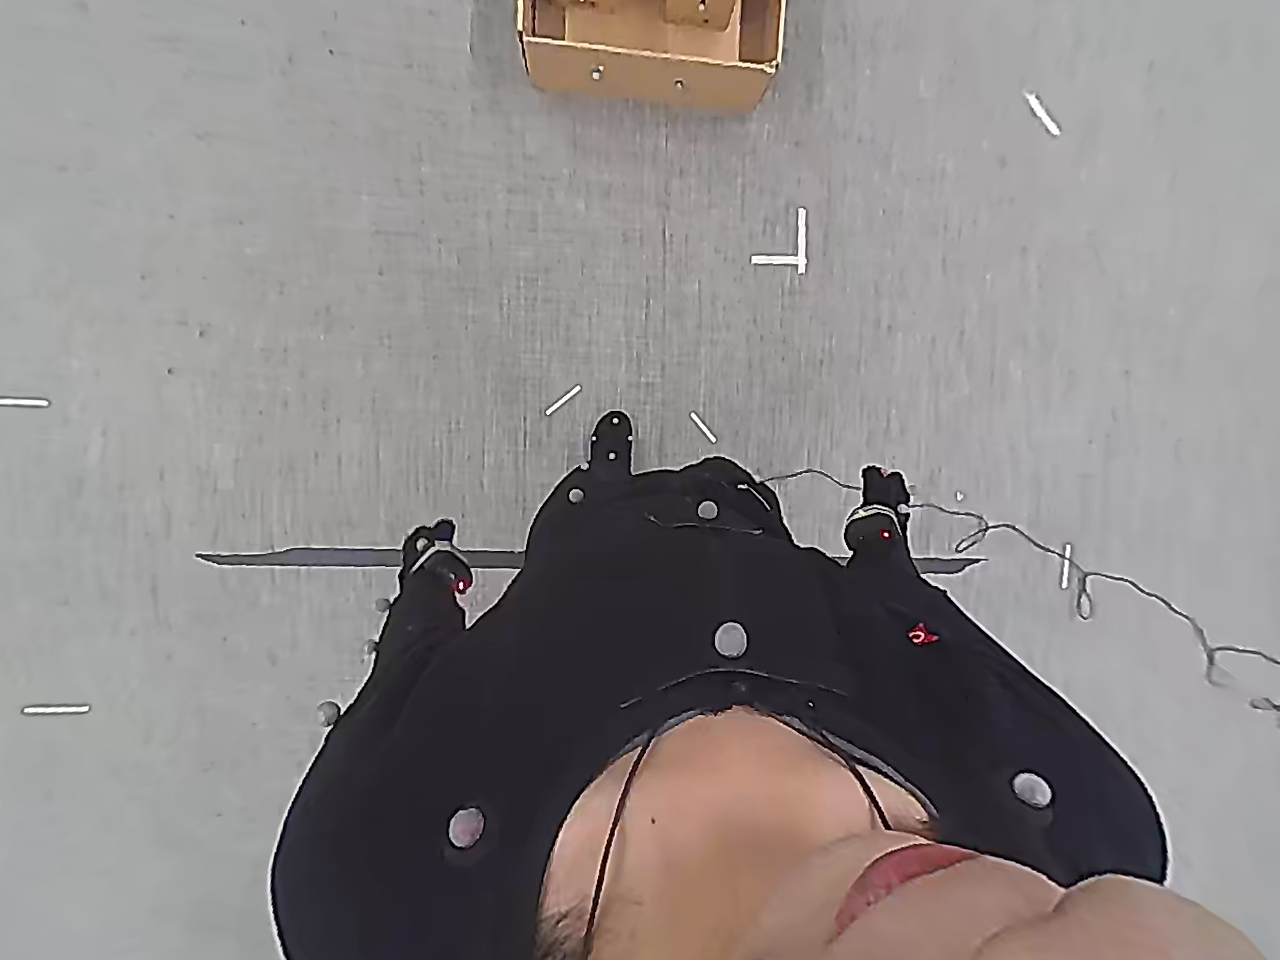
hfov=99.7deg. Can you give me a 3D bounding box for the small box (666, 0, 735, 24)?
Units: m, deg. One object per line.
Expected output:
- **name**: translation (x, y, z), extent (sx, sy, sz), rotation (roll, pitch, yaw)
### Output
- **small box**: translation (0.155, -1.241, 1.287), extent (0.168, 0.176, 0.179), rotation (3, 97, -5)
